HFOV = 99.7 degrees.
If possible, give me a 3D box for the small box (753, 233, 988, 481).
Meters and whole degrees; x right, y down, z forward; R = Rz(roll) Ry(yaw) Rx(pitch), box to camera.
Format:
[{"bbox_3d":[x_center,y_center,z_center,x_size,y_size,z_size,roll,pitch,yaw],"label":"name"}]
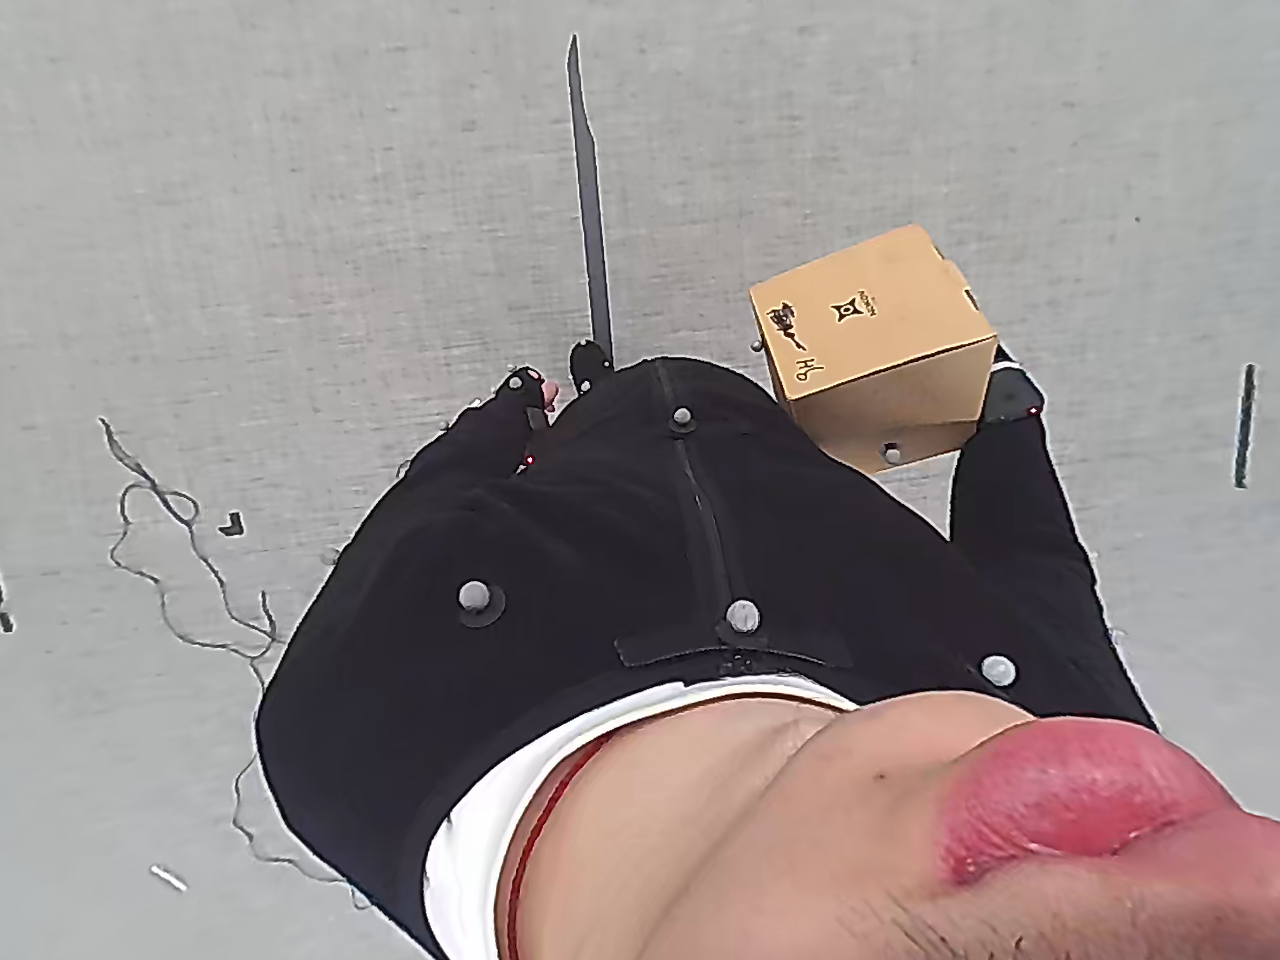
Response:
[{"bbox_3d":[0.238,-0.123,0.589,0.179,0.168,0.176,-17,144,13],"label":"small box"}]
